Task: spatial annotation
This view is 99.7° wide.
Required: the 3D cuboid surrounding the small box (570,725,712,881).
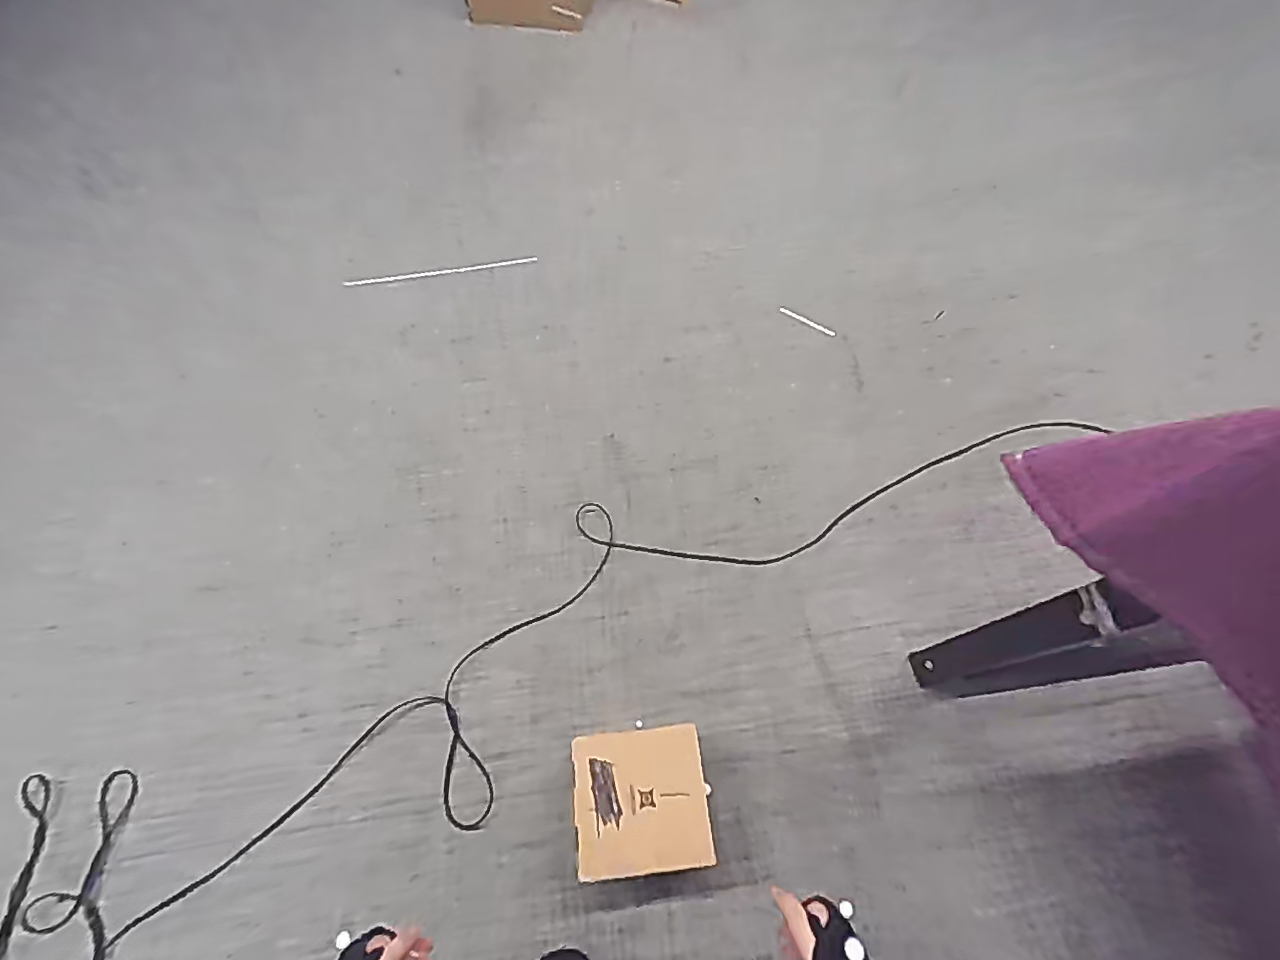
[{"bbox_3d":[-0.001,0.457,0.781,0.179,0.176,0.168,-5,63,-3],"label":"small box"}]
